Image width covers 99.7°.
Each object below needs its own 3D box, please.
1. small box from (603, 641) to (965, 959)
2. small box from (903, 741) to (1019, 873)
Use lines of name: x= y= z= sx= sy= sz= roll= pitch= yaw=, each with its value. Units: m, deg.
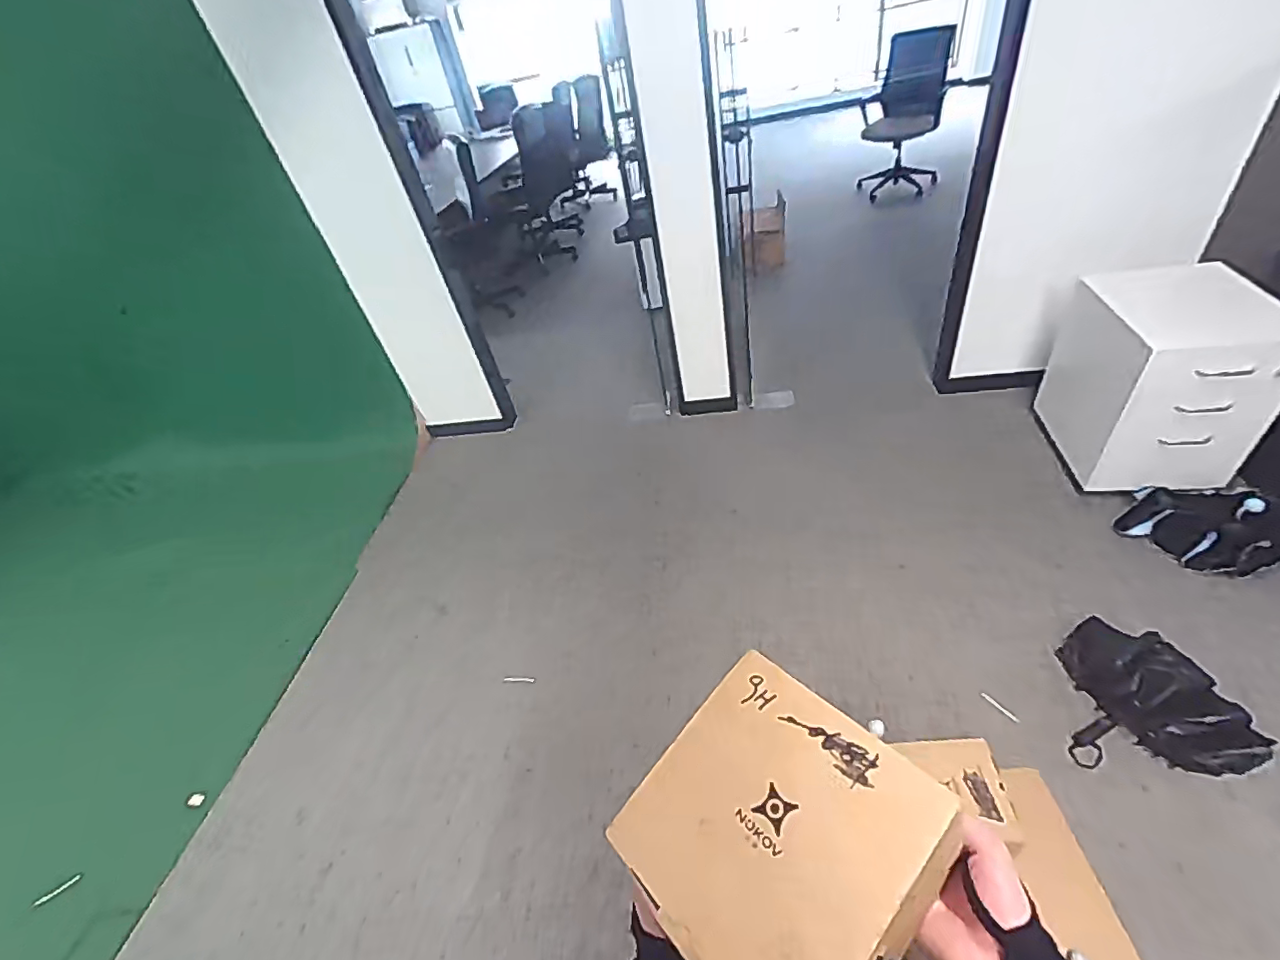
small box: x=0.112 y=0.261 z=0.392 sx=0.179 sy=0.176 sz=0.168 roll=-47 pitch=44 yaw=-17
small box: x=0.546 y=0.598 z=0.990 sx=0.179 sy=0.176 sz=0.168 roll=-8 pitch=40 yaw=11
